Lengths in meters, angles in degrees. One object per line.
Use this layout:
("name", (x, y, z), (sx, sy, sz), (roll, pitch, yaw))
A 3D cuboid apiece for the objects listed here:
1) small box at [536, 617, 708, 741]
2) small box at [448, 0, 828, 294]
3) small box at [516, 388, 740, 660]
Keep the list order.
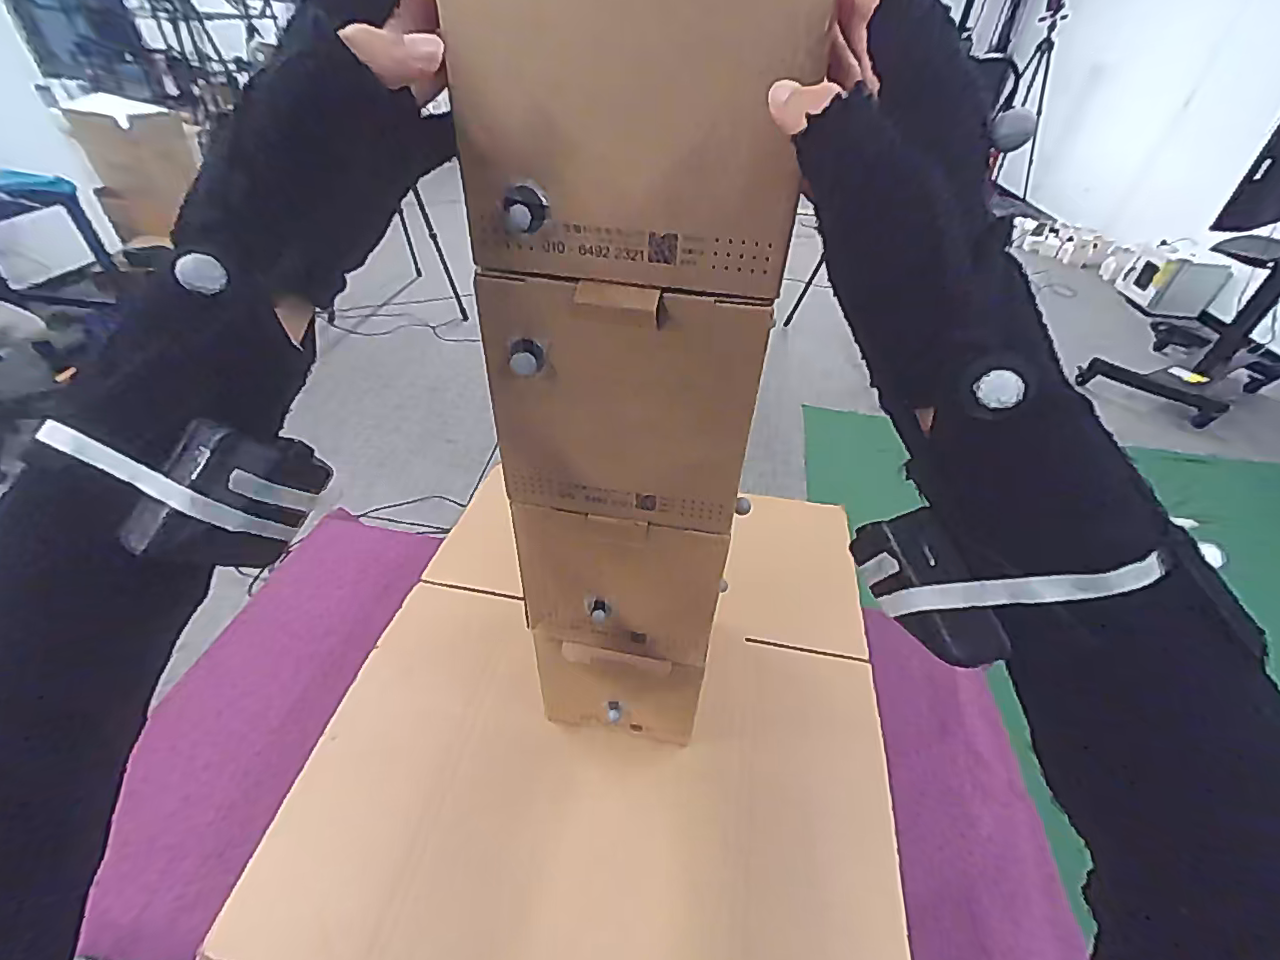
("small box", (-0.010, 0.162, 0.618), (0.168, 0.176, 0.179), (8, 40, 7))
("small box", (0.010, -0.219, 0.307), (0.168, 0.176, 0.179), (9, 39, 7))
("small box", (-0.005, 0.037, 0.513), (0.168, 0.176, 0.179), (9, 40, 6))
